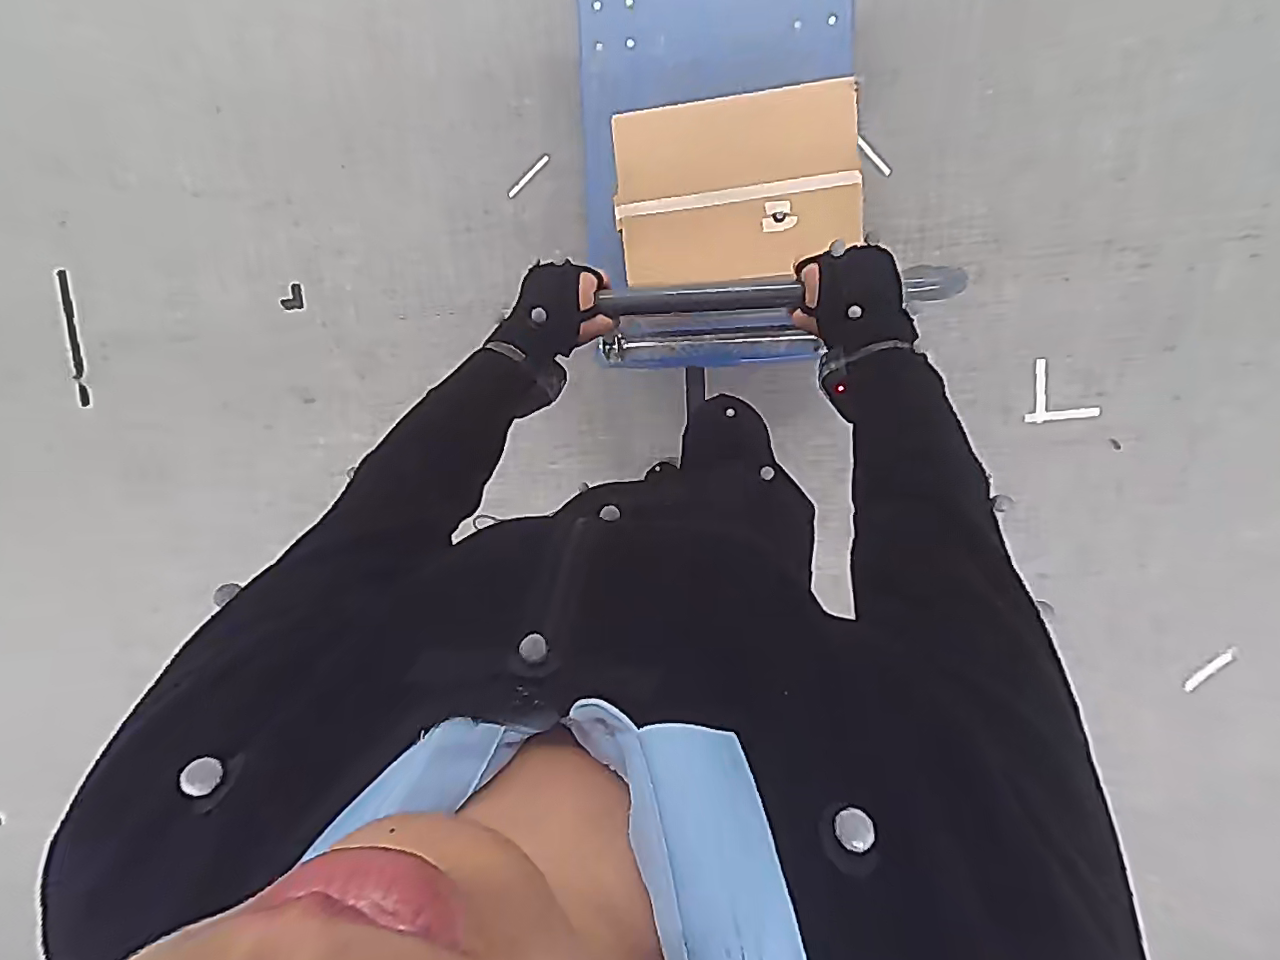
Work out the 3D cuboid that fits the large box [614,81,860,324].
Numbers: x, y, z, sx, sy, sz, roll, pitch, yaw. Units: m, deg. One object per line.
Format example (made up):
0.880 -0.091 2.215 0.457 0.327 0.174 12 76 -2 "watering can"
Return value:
0.179 -0.511 1.080 0.408 0.320 0.320 -5 99 6 "large box"
